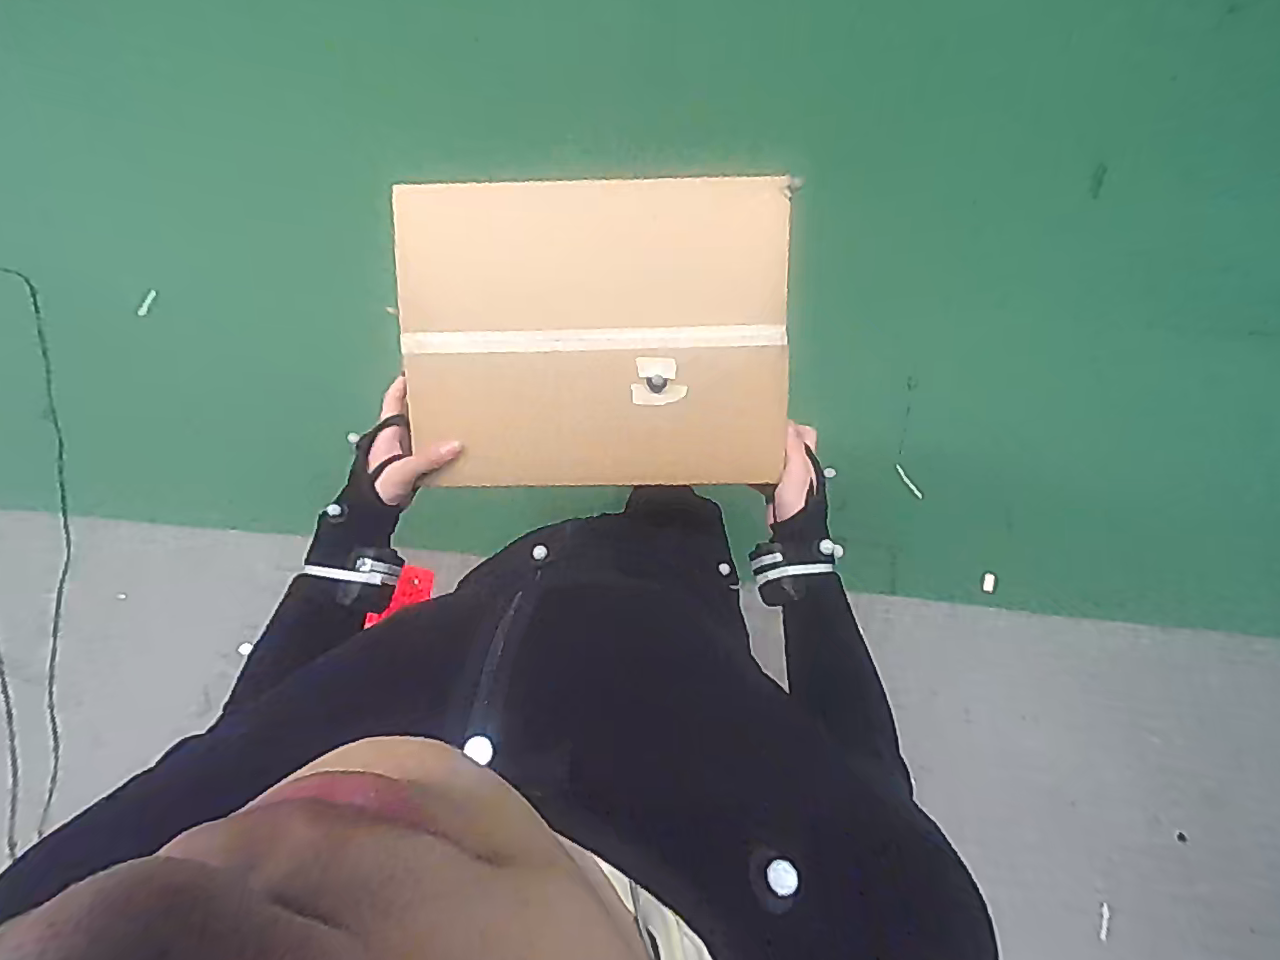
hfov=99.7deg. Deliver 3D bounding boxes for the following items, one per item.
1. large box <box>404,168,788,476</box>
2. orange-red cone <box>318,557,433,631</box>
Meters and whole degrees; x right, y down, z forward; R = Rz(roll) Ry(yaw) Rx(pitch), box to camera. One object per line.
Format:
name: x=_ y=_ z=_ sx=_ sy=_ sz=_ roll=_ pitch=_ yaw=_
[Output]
large box: x=-0.043 y=-0.182 z=0.723 sx=0.408 sy=0.320 sz=0.320 roll=-1 pitch=99 yaw=0
orange-red cone: x=-0.751 y=0.343 z=1.476 sx=0.199 sy=0.360 sz=0.198 roll=13 pitch=90 yaw=3
